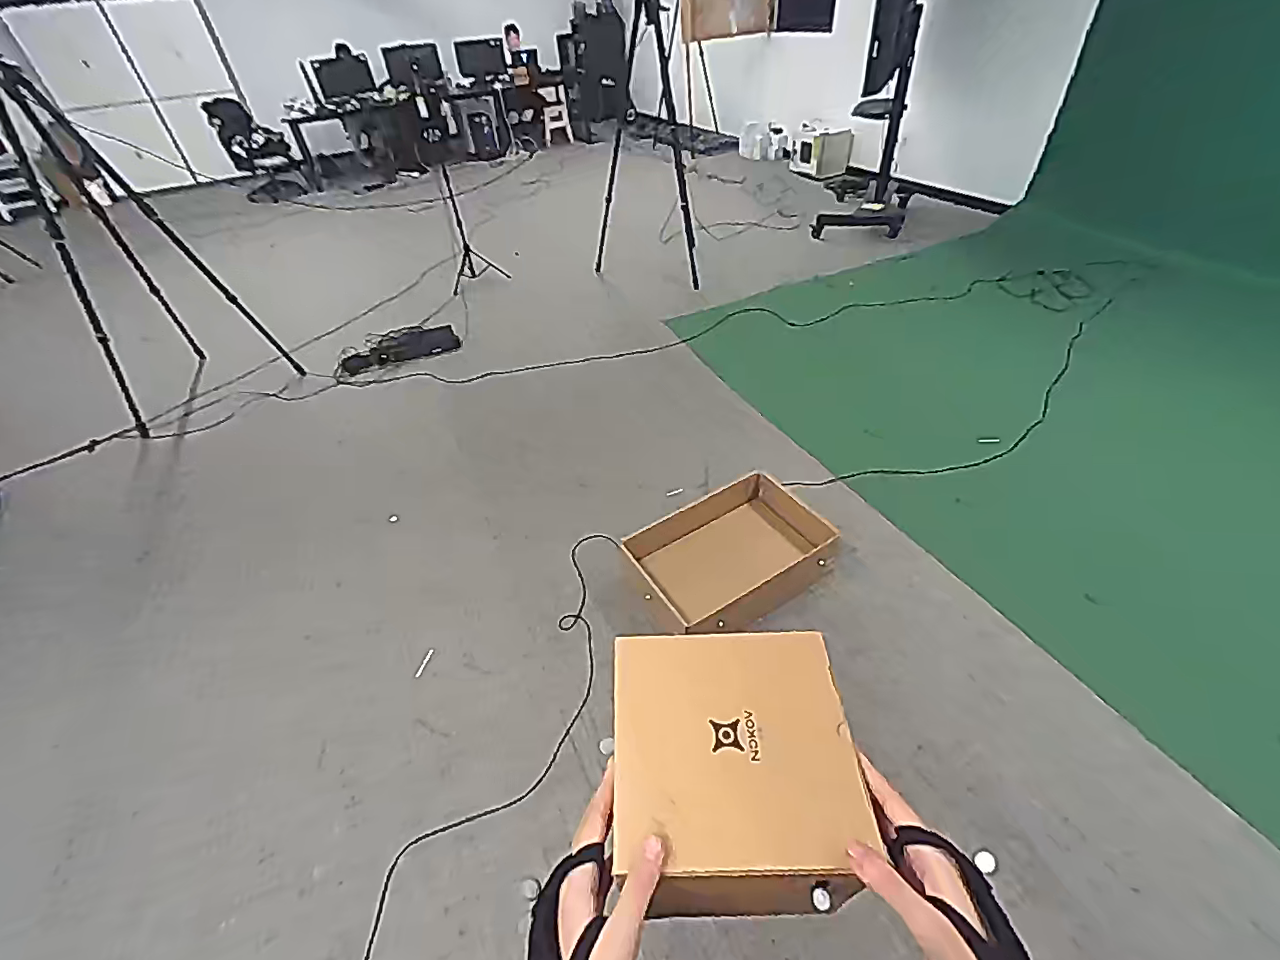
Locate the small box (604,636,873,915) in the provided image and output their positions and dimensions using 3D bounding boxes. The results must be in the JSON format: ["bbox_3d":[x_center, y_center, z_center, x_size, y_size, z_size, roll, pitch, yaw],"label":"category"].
[{"bbox_3d":[0.064,0.249,0.456,0.179,0.176,0.168,-1,43,-1],"label":"small box"}]
